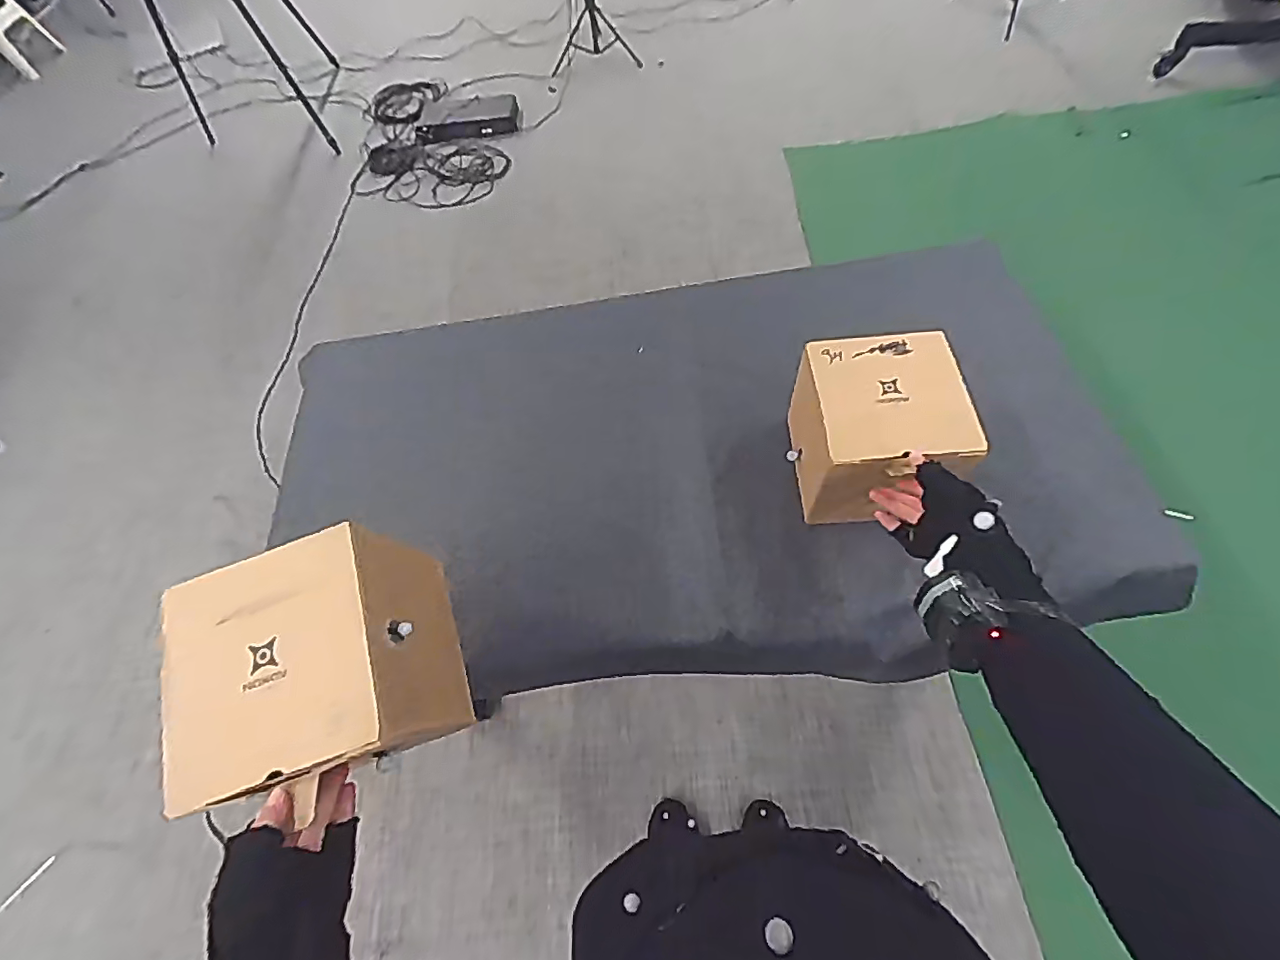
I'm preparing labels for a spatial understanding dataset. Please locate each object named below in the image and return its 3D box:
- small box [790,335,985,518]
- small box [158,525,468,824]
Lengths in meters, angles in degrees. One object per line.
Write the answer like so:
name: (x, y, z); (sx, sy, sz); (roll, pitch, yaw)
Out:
small box: (0.295, -0.057, 0.689); (0.168, 0.176, 0.179); (-3, 62, 4)
small box: (-0.273, 0.165, 0.481); (0.168, 0.176, 0.179); (-21, 68, -1)
